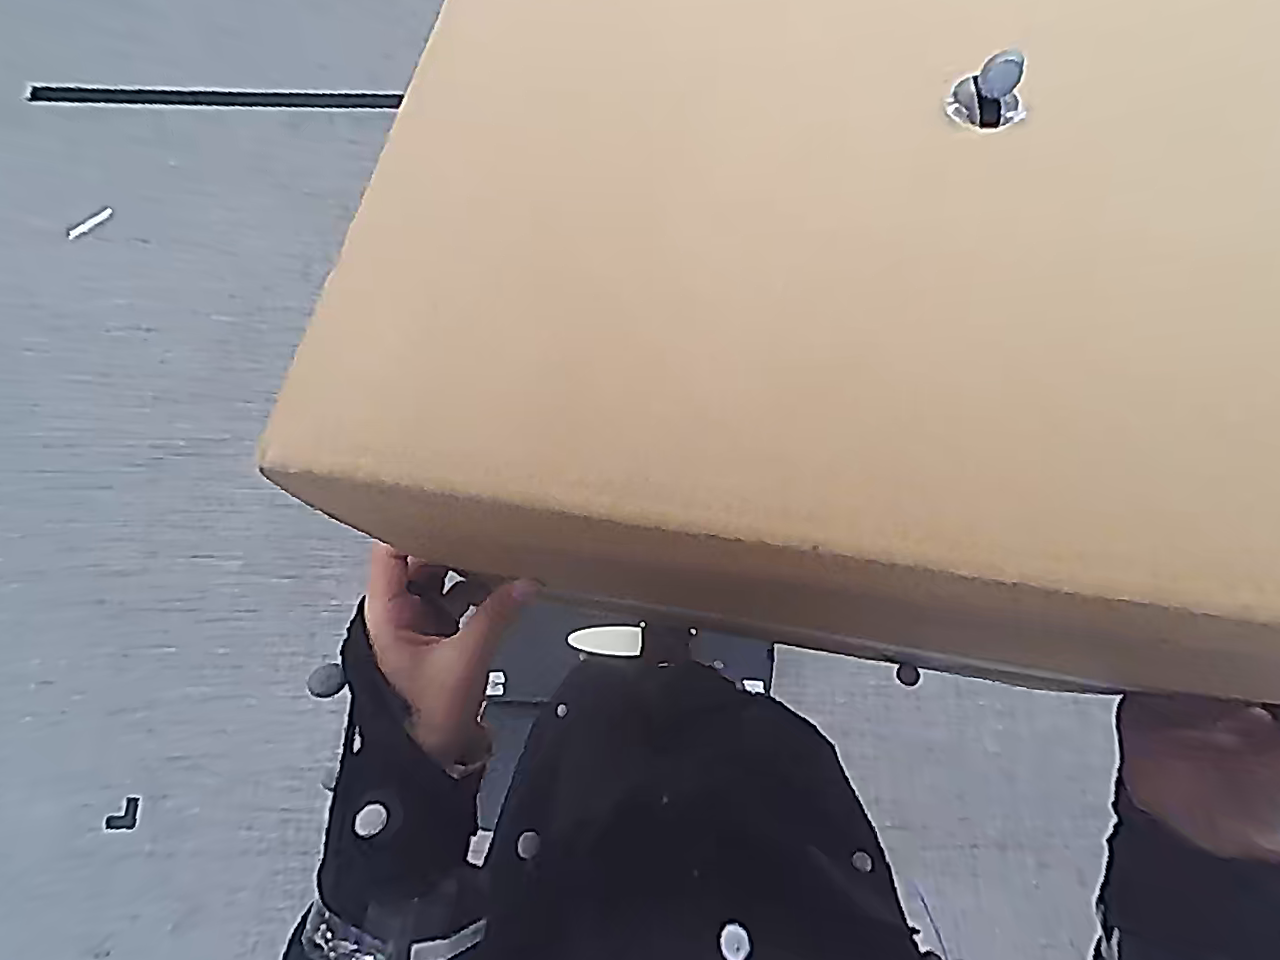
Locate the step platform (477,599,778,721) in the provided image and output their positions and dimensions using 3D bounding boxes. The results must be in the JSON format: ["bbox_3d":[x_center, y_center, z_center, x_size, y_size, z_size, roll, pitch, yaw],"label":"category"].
[{"bbox_3d":[-0.027,0.370,1.274,0.684,0.204,0.286,7,81,-1],"label":"step platform"}]

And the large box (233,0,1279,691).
[{"bbox_3d":[0.100,-0.071,0.324,0.408,0.320,0.320,7,73,4],"label":"large box"}]
